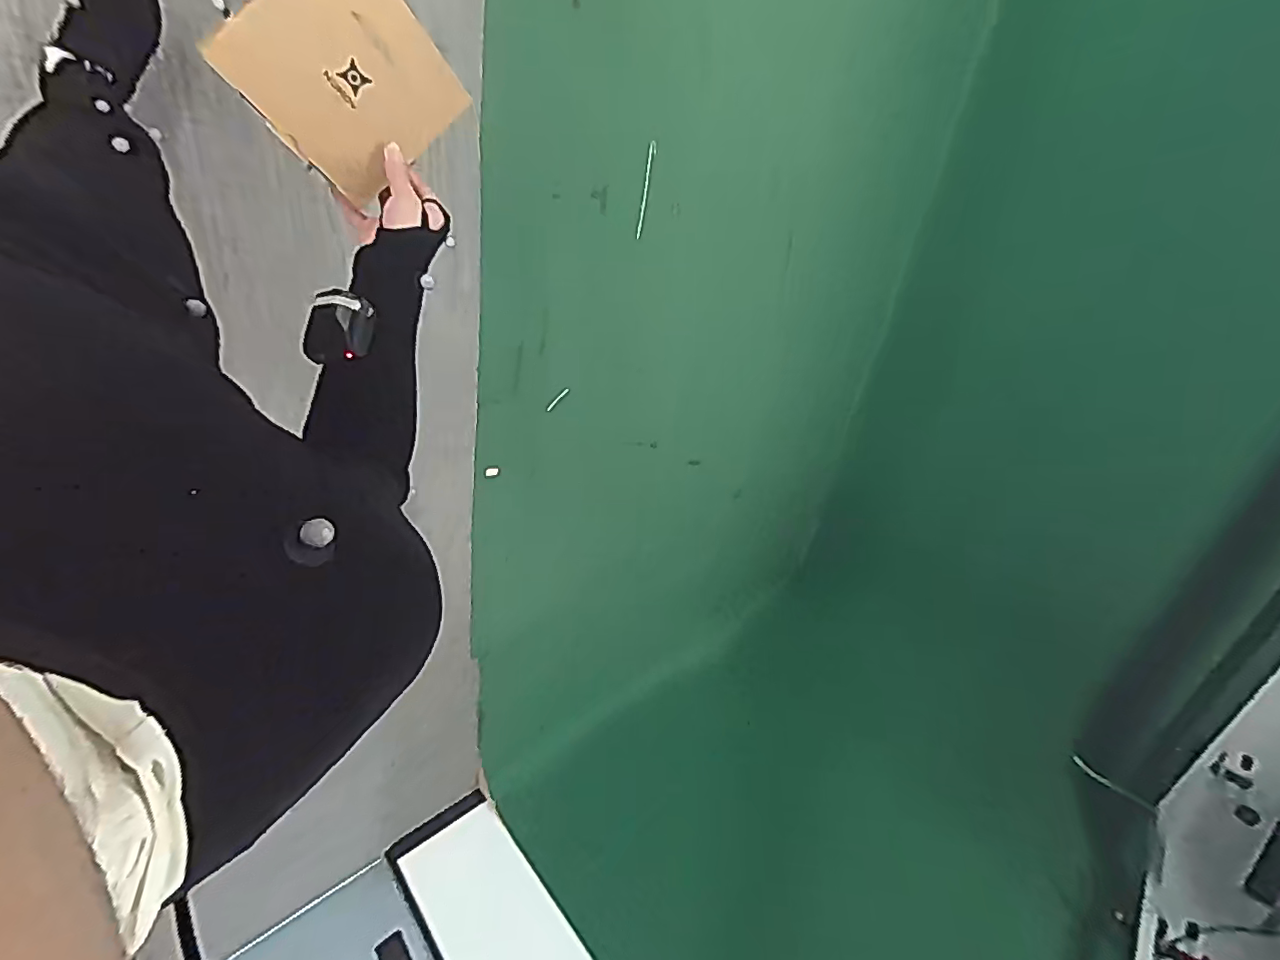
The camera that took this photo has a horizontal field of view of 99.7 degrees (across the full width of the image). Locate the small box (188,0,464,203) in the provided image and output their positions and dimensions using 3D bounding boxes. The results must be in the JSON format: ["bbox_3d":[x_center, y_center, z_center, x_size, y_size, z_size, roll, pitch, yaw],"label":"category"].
[{"bbox_3d":[-0.324,-0.435,0.567,0.179,0.176,0.168,-44,140,1],"label":"small box"}]
